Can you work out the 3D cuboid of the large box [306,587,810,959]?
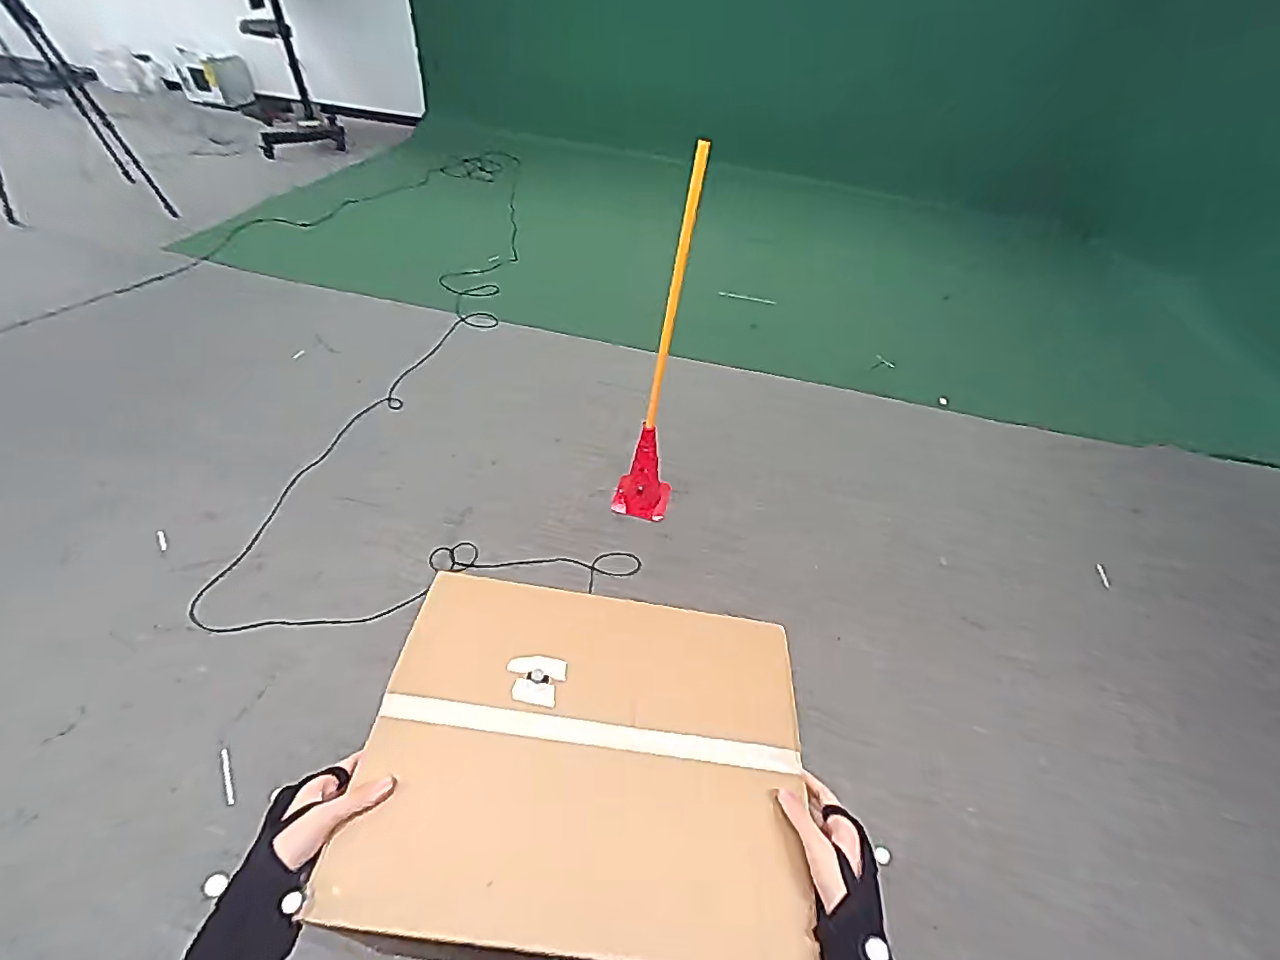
[{"bbox_3d":[-0.067,0.360,0.629,0.408,0.320,0.320,9,44,-2],"label":"large box"}]
